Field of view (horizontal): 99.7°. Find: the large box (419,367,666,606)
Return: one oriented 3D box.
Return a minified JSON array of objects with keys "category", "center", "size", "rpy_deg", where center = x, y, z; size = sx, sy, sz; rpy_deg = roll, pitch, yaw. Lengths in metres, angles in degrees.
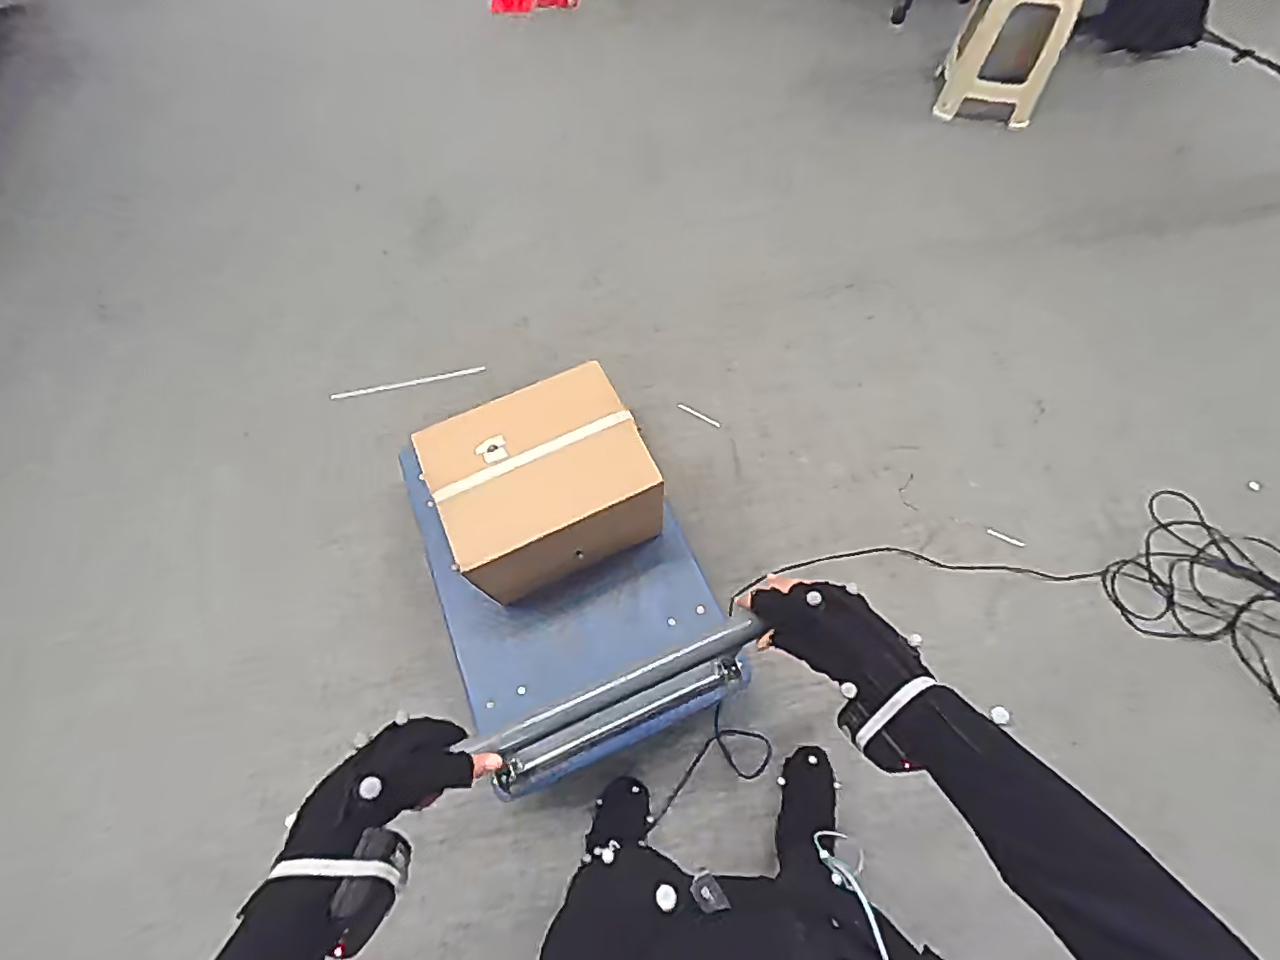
[{"category":"large box","center":[-0.188,0.028,1.180],"size":[0.408,0.320,0.320],"rpy_deg":[-26,67,-9]}]
